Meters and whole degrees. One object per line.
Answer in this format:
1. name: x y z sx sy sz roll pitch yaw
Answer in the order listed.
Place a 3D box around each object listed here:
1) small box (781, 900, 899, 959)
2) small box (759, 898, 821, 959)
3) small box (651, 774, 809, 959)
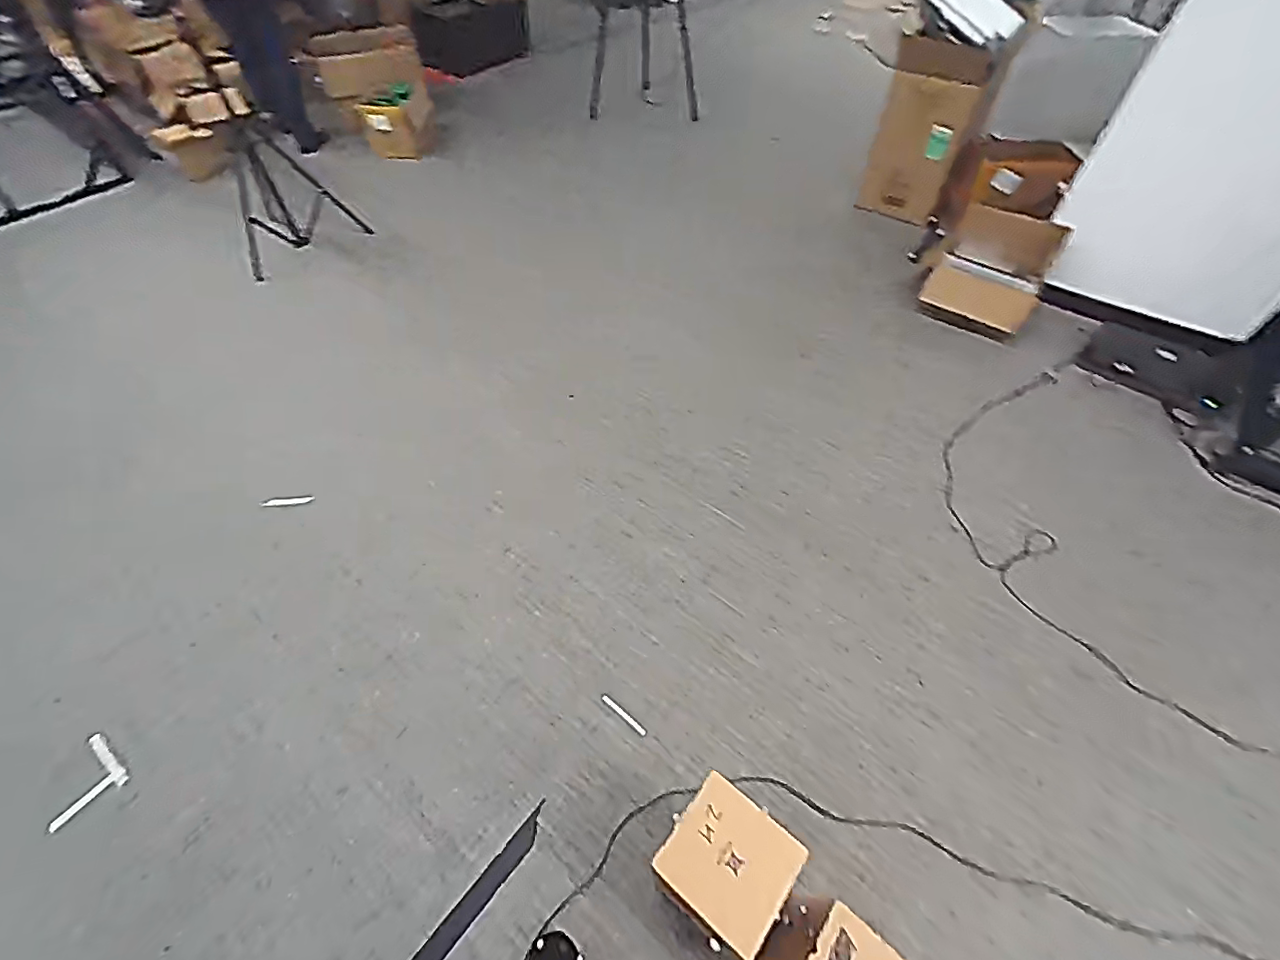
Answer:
1. small box: 0.335 0.838 0.886 0.179 0.176 0.168 36 61 23
2. small box: 0.338 0.936 1.018 0.179 0.176 0.168 36 61 24
3. small box: 0.135 0.609 0.857 0.179 0.176 0.168 33 59 25
